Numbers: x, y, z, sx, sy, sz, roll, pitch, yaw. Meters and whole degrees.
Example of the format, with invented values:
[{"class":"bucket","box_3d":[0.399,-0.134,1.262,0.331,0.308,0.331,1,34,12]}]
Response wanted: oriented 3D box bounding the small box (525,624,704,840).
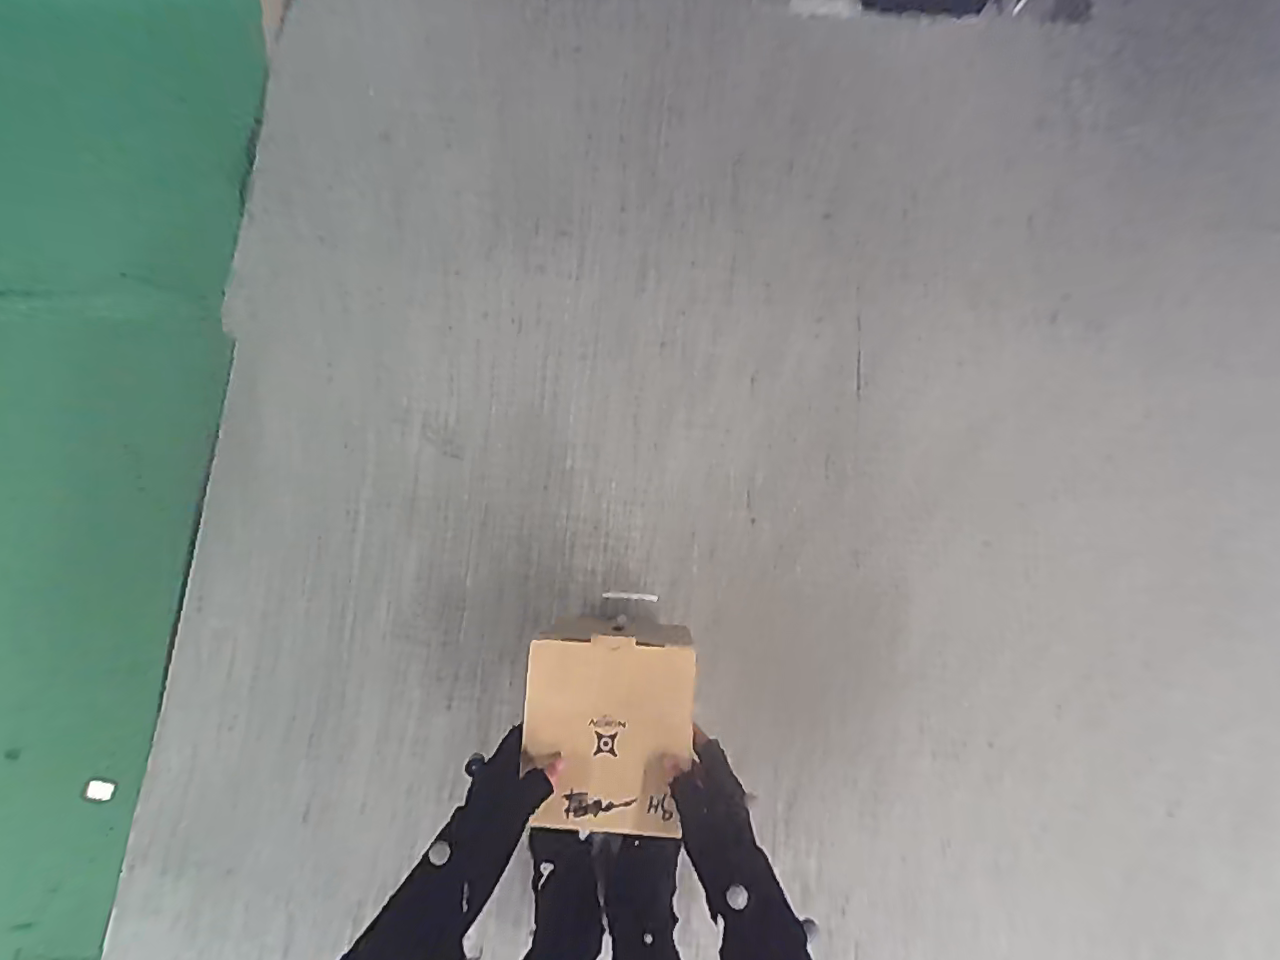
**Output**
[{"class":"small box","box_3d":[-0.021,0.260,0.601,0.168,0.176,0.179,2,82,3]}]
